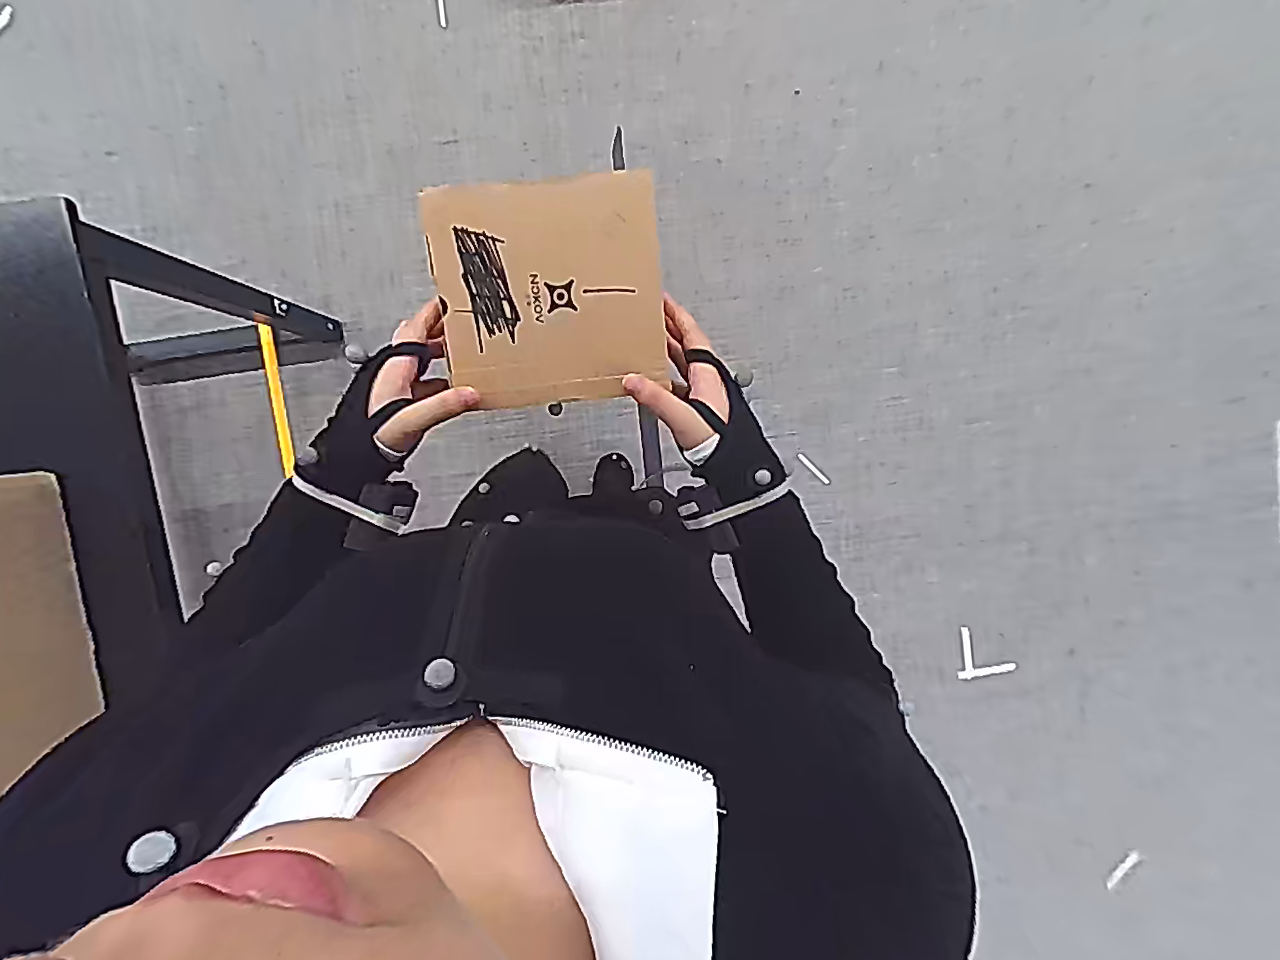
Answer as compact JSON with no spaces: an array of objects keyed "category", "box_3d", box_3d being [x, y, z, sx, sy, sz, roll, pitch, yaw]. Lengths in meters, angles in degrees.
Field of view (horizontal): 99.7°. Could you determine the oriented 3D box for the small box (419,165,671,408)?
[{"category":"small box","box_3d":[-0.069,-0.159,0.486,0.179,0.176,0.168,-6,104,0]}]
